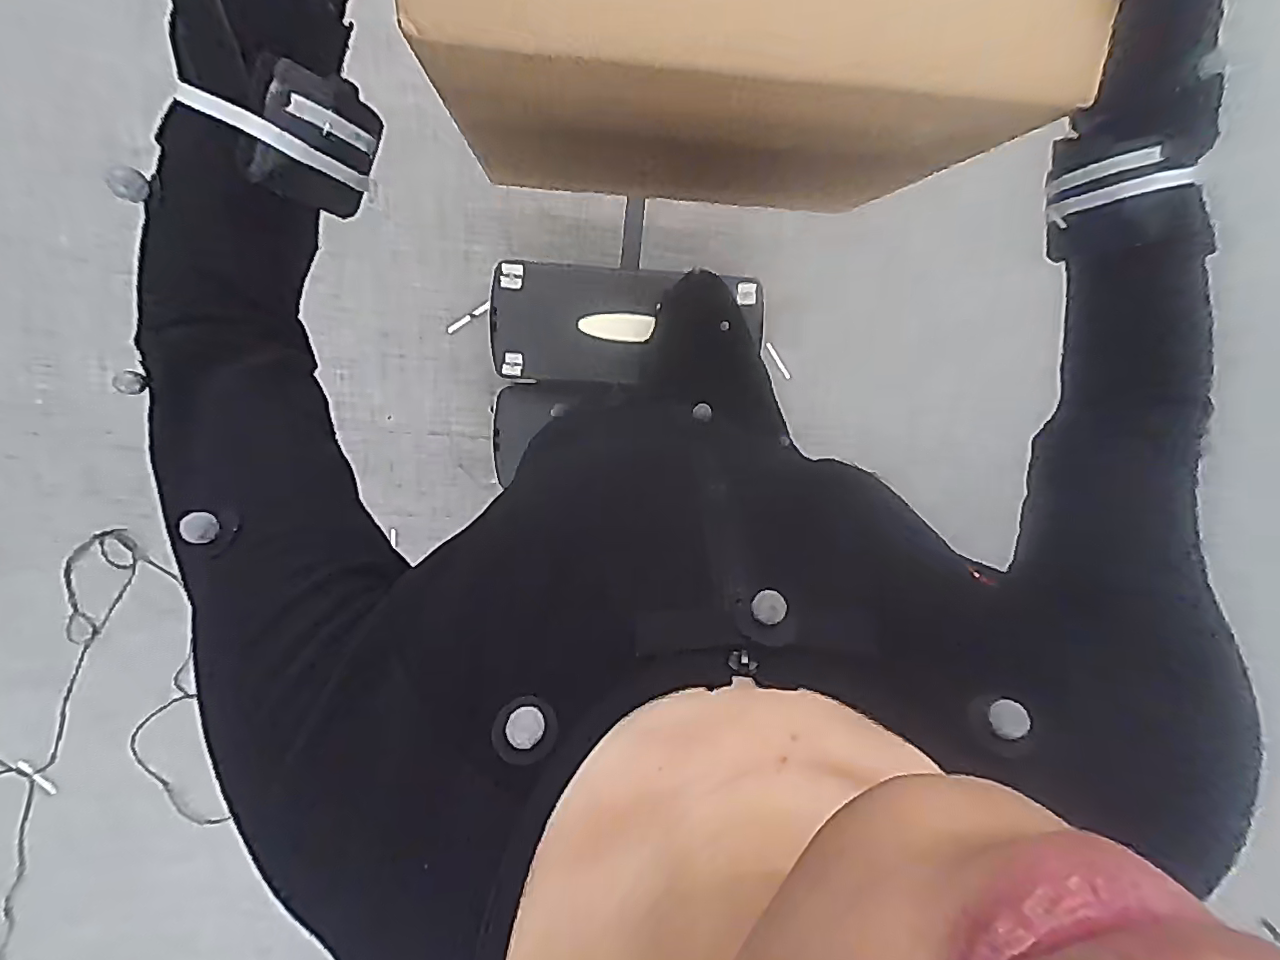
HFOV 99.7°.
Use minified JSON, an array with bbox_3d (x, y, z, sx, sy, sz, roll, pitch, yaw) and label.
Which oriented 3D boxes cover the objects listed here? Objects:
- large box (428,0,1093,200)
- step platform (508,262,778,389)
[{"bbox_3d":[0.063,-0.430,0.423,0.408,0.320,0.320,0,106,-7],"label":"large box"},{"bbox_3d":[0.007,-0.392,1.405,0.684,0.204,0.286,1,101,-6],"label":"step platform"}]
